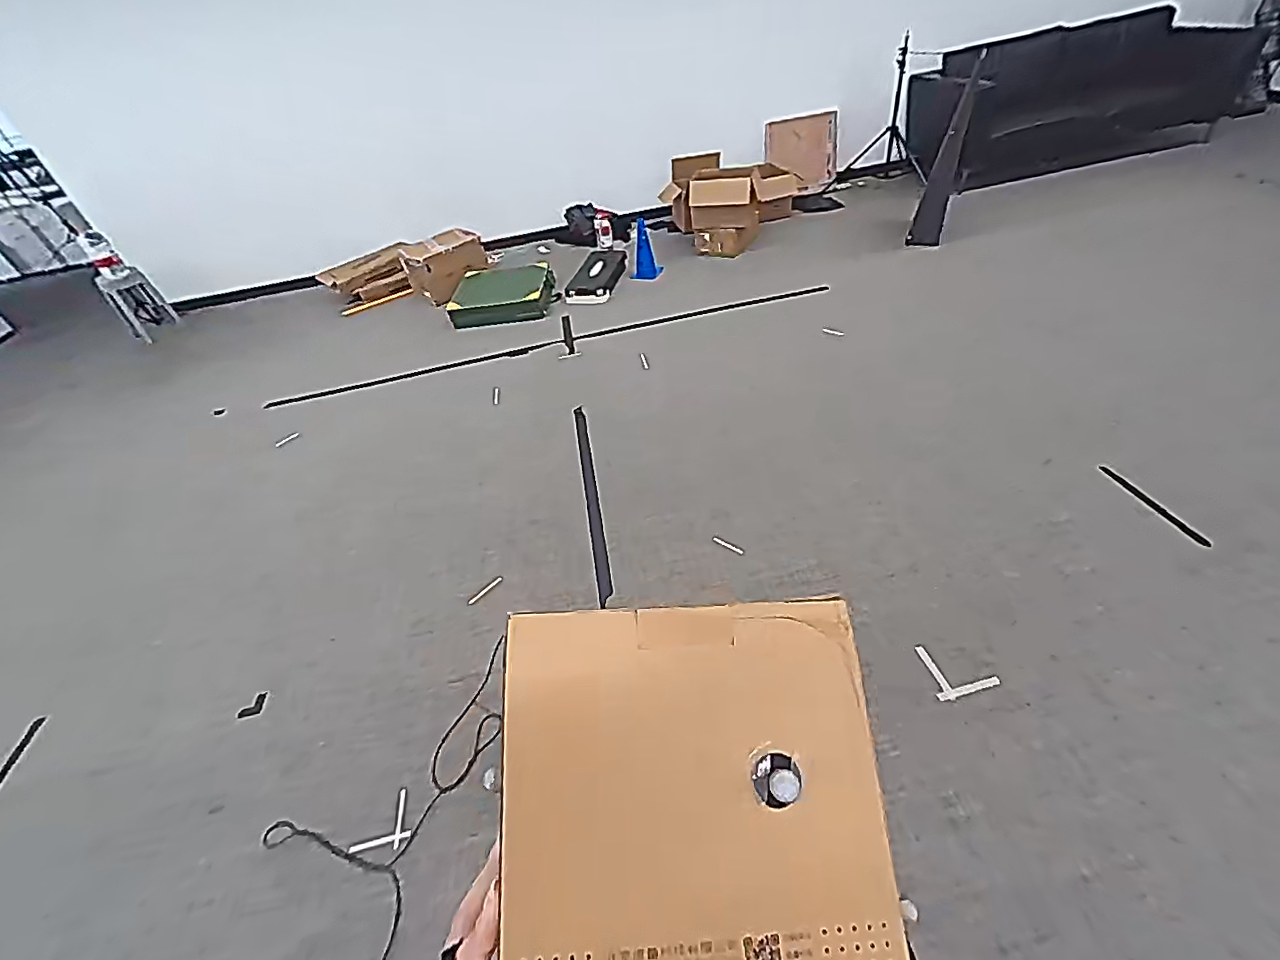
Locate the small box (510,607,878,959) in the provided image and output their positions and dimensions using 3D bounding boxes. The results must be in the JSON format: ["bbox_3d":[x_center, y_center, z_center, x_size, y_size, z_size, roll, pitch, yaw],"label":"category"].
[{"bbox_3d":[0.019,0.173,0.326,0.168,0.179,0.176,-1,72,-4],"label":"small box"}]
